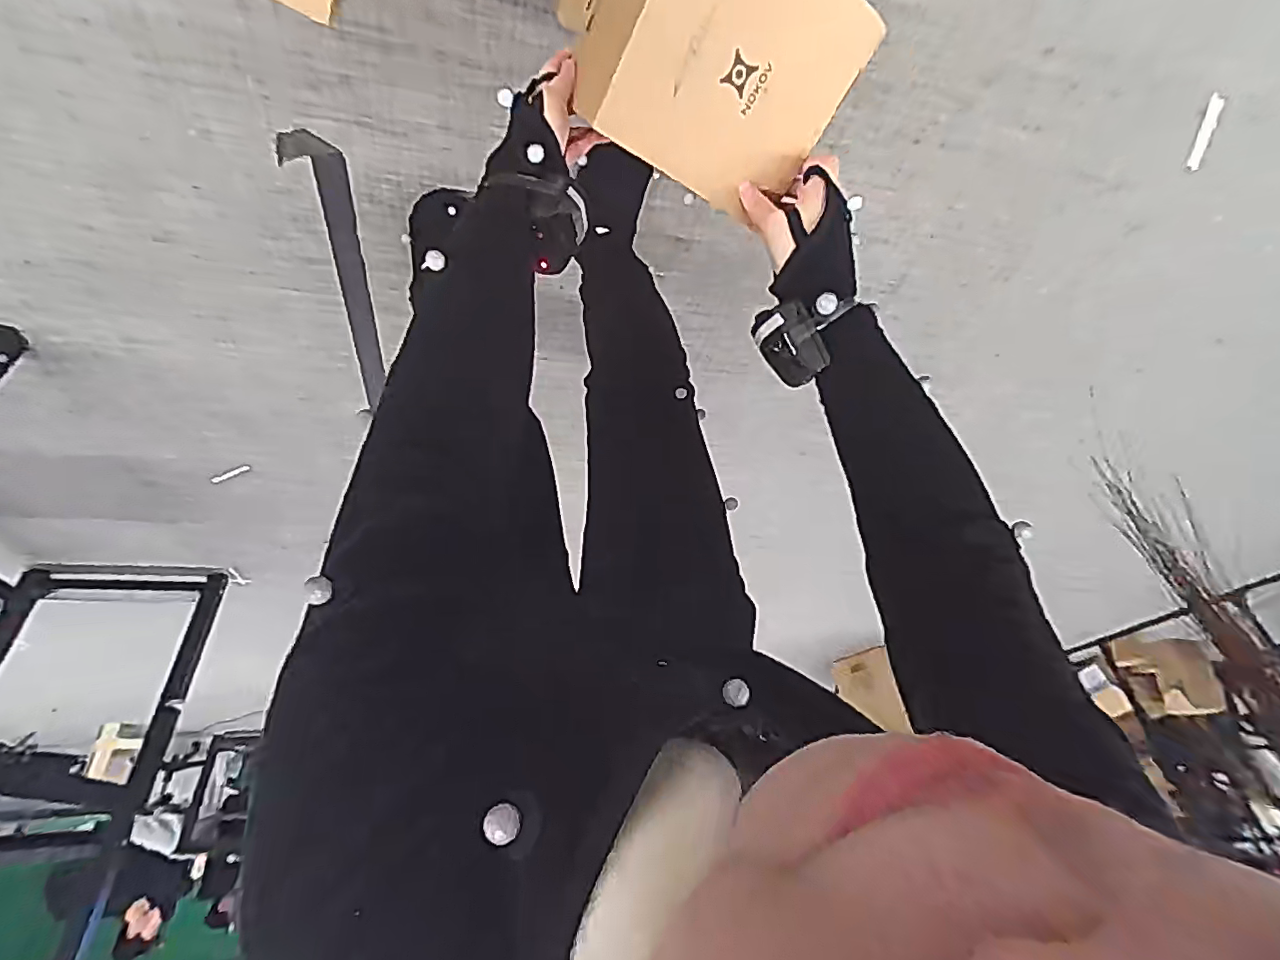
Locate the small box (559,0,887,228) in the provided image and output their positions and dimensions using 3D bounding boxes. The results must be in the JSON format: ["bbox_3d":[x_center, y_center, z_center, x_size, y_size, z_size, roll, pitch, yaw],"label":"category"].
[{"bbox_3d":[0.053,-0.351,0.450,0.179,0.176,0.168,15,124,-31],"label":"small box"}]
